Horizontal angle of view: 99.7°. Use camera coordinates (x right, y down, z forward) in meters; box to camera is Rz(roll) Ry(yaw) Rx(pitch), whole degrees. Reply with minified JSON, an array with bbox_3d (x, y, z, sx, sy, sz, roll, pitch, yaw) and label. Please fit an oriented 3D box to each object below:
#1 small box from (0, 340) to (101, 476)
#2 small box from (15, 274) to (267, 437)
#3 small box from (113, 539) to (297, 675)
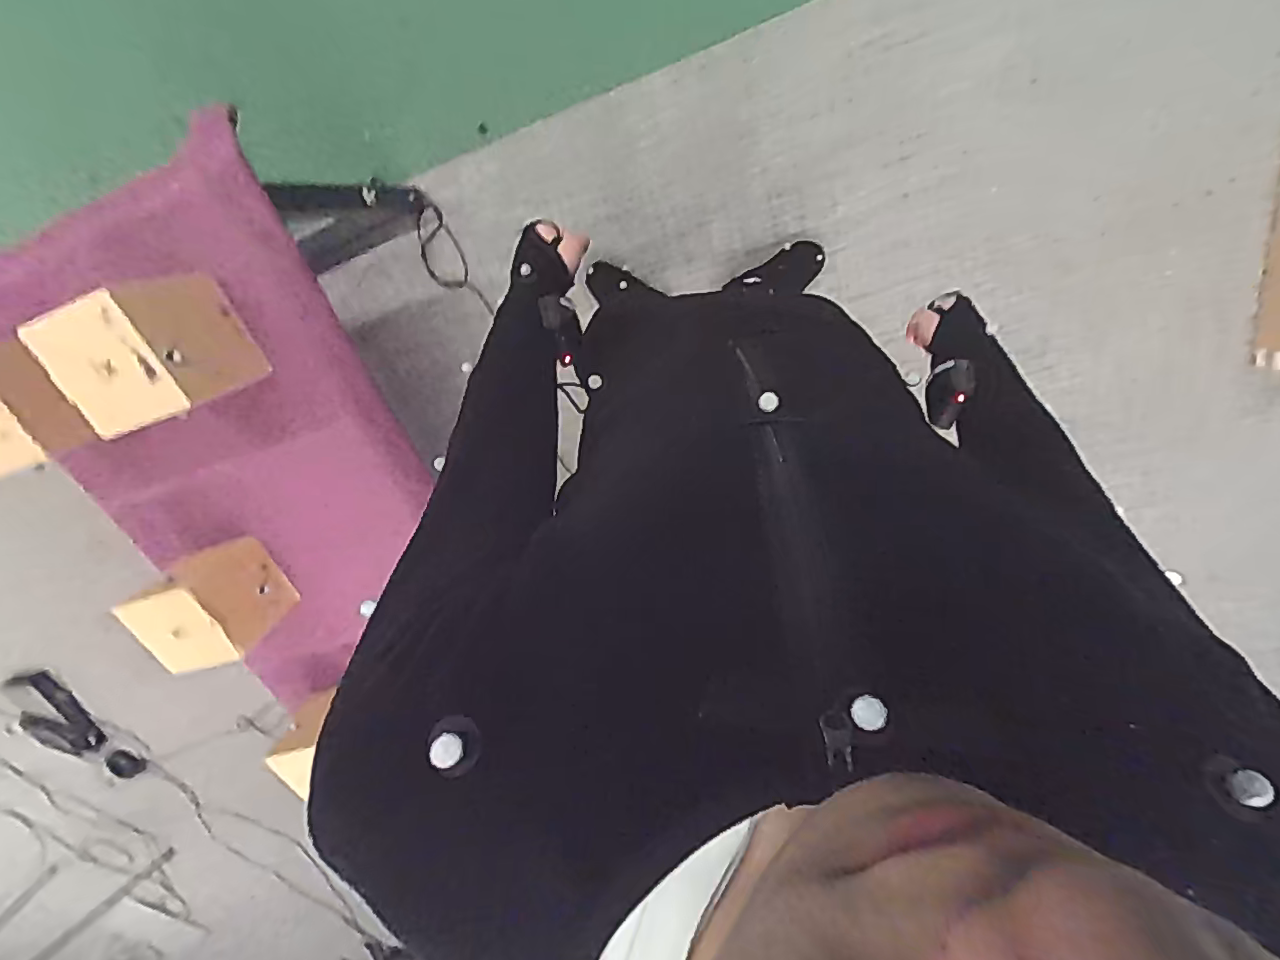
[{"bbox_3d":[-0.981,-0.117,0.856,0.179,0.176,0.168,-15,118,12],"label":"small box"},{"bbox_3d":[-0.711,-0.186,0.795,0.179,0.176,0.168,-14,117,14],"label":"small box"},{"bbox_3d":[-0.813,0.237,1.031,0.179,0.176,0.168,-16,115,12],"label":"small box"}]
